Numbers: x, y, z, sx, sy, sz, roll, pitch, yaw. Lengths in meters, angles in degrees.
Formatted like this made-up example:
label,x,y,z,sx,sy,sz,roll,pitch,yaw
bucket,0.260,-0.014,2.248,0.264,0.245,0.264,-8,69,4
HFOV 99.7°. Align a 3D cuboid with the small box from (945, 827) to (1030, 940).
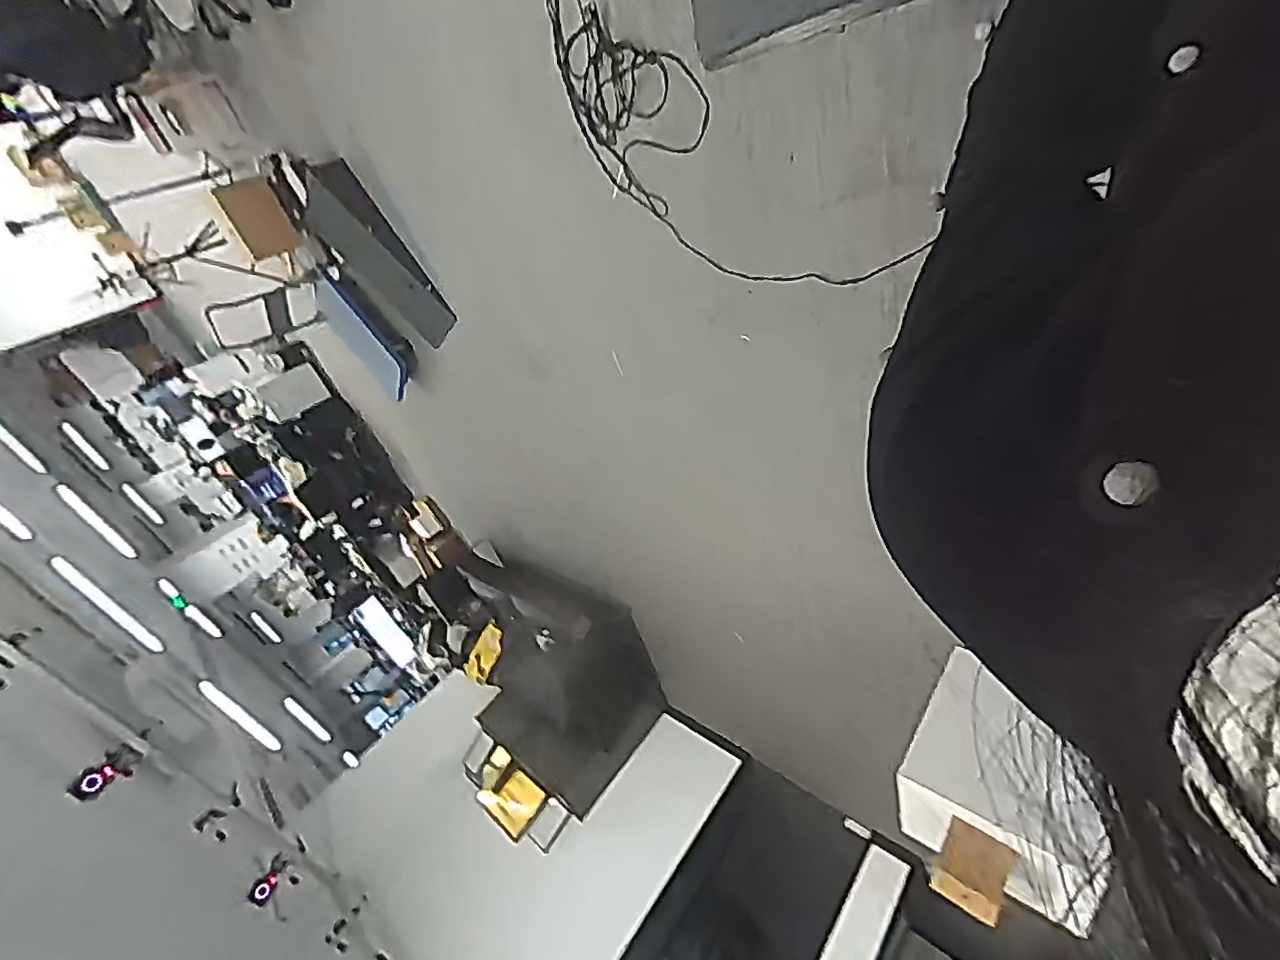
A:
label,x,y,z,sx,sy,sz,roll,pitch,yaw
small box,0.992,1.148,1.547,0.168,0.176,0.179,16,137,41
